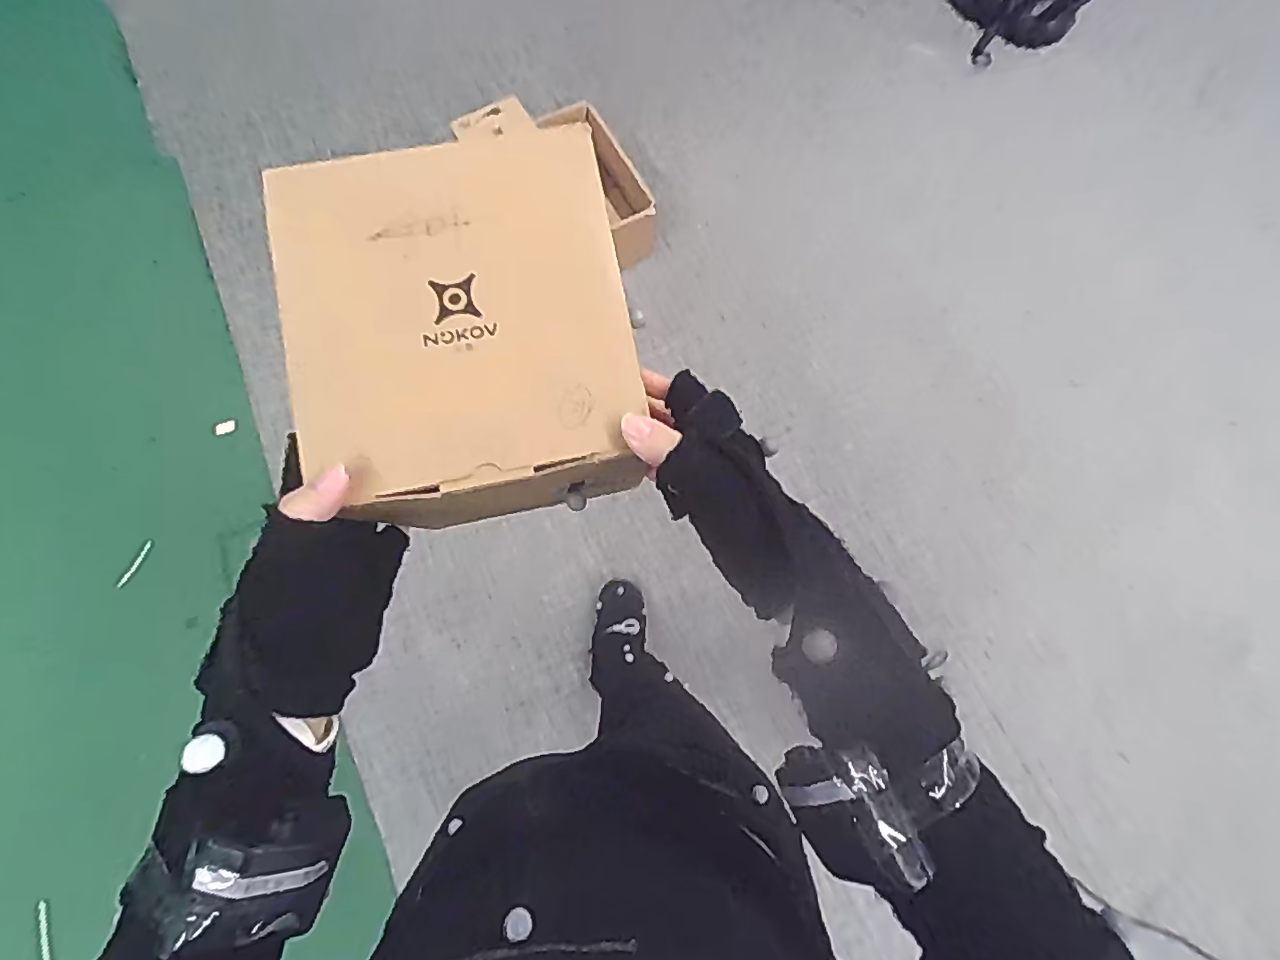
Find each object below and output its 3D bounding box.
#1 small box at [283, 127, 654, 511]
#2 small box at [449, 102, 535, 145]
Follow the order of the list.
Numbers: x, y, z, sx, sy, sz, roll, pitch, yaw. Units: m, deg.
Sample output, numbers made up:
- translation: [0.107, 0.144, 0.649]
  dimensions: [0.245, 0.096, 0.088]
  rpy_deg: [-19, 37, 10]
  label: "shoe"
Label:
- translation: [-0.091, -0.079, 0.352]
  dimensions: [0.168, 0.176, 0.179]
  rpy_deg: [-11, 82, -5]
  label: "small box"
- translation: [-0.313, -0.722, 1.265]
  dimensions: [0.168, 0.176, 0.179]
  rpy_deg: [-29, 77, -9]
  label: "small box"
